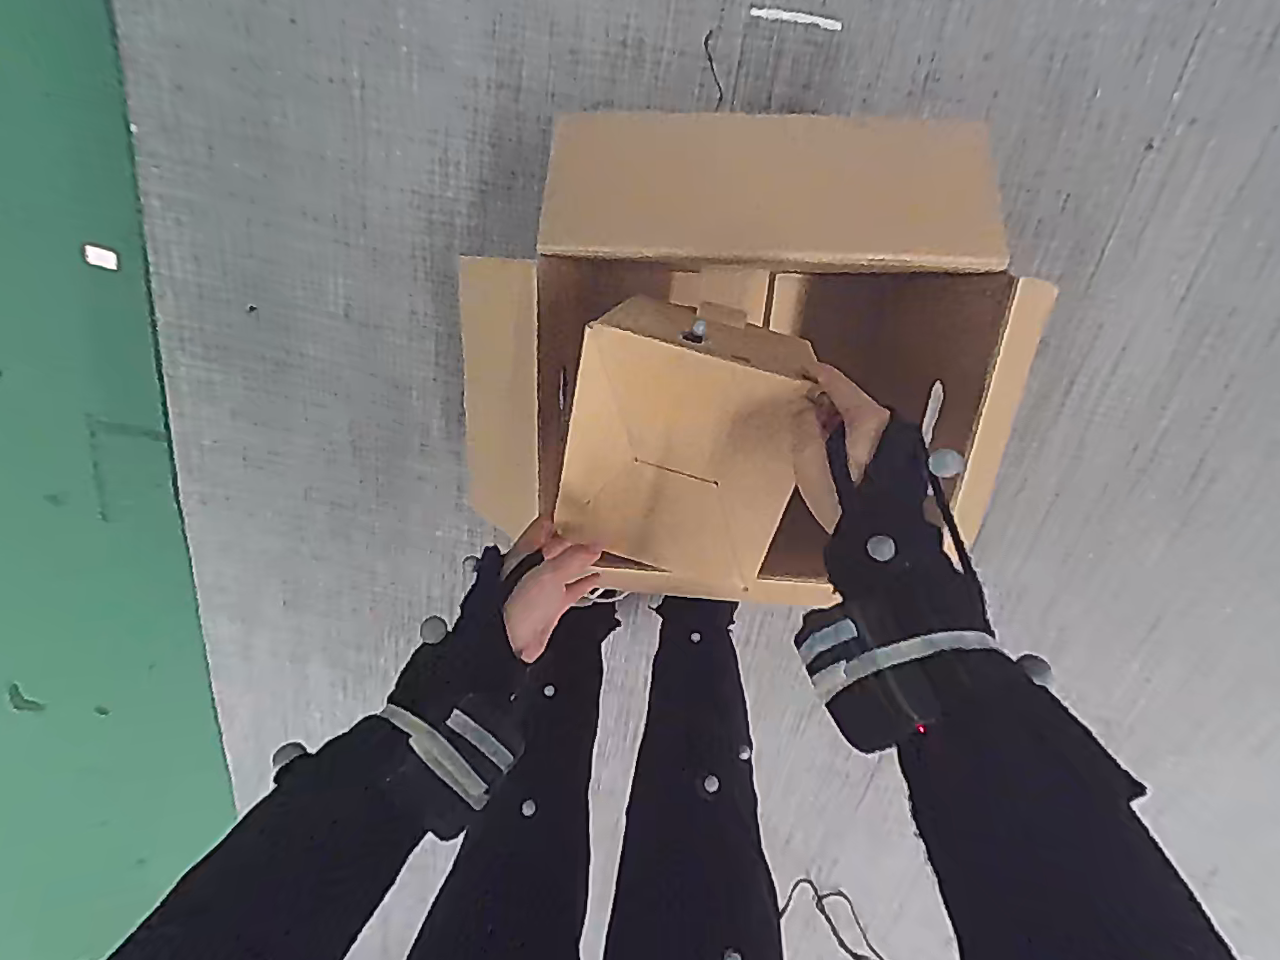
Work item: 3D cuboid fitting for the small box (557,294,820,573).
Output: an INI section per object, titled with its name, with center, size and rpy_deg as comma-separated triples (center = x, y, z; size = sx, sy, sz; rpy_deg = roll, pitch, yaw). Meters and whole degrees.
[small box]
center = 0.039, -0.042, 0.461
size = 0.168, 0.176, 0.179
rpy_deg = 17, 119, 3
